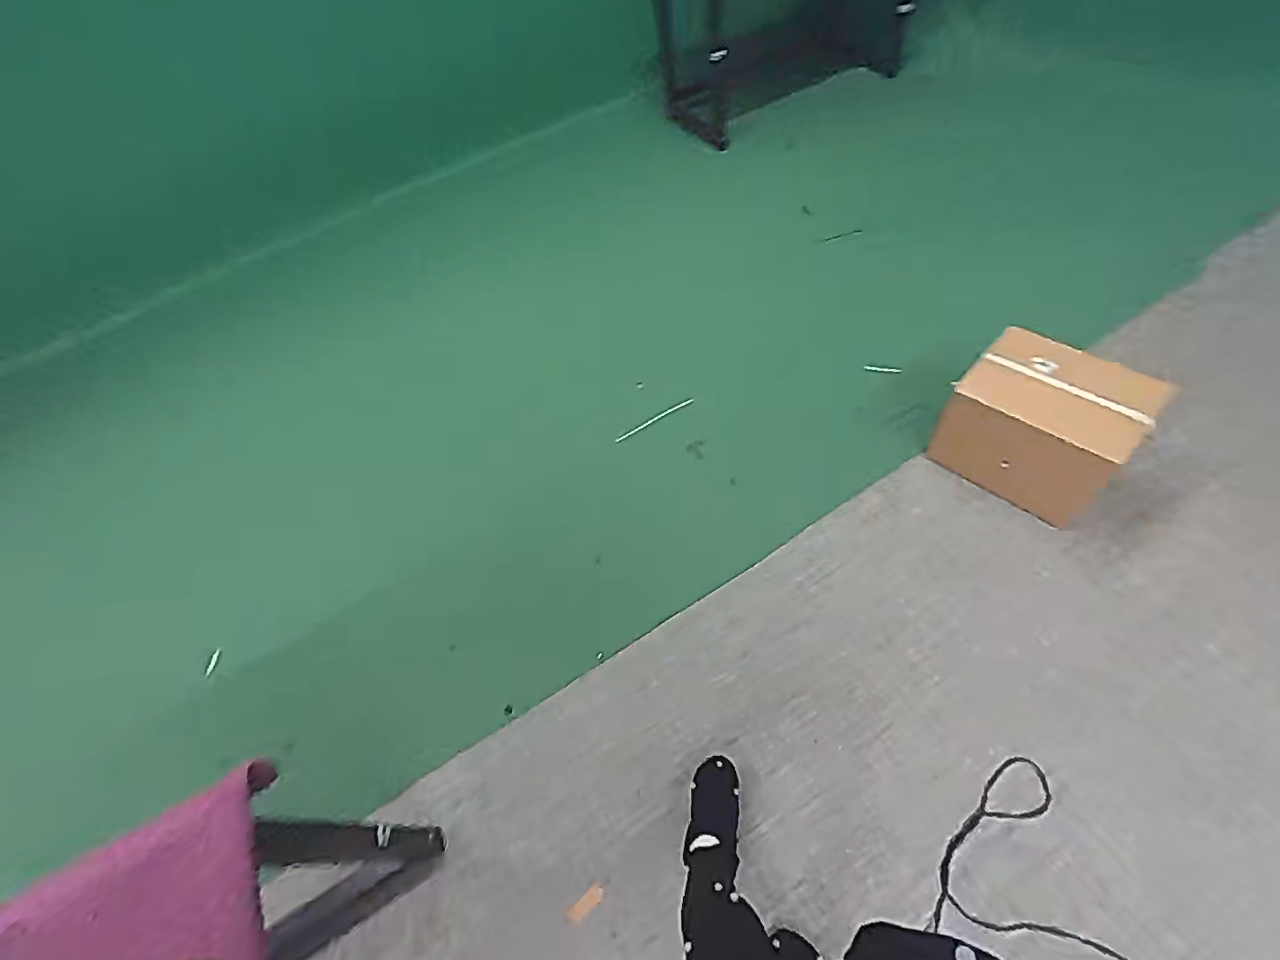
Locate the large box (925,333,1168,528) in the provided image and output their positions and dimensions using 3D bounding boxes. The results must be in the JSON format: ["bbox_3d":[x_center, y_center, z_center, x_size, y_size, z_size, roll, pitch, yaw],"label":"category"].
[{"bbox_3d":[1.103,-0.140,1.517,0.320,0.320,0.408,-42,57,-18],"label":"large box"}]
